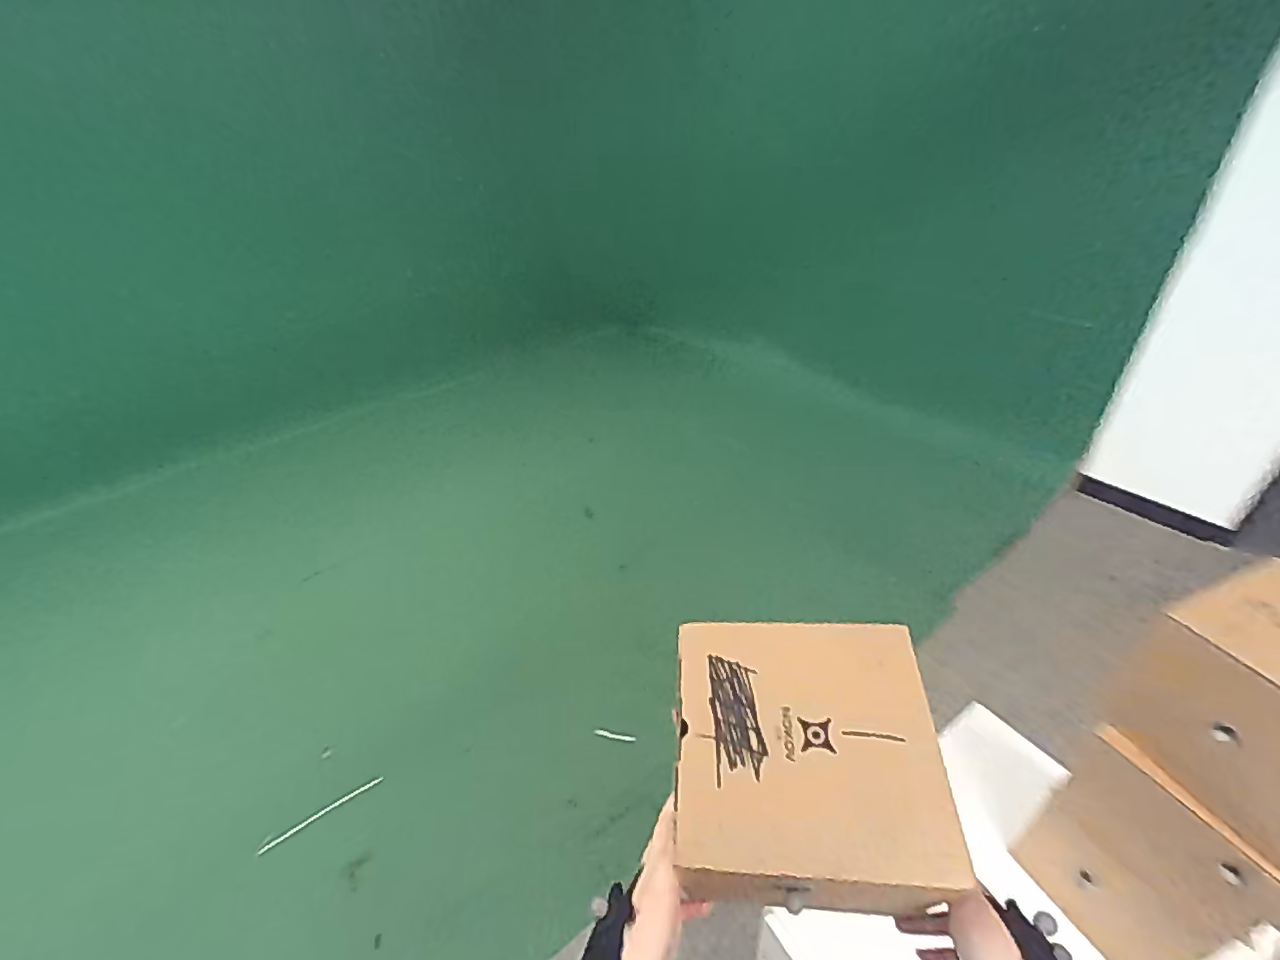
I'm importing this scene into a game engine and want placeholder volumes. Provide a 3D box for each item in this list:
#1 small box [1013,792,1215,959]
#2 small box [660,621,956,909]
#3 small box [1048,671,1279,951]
[{"bbox_3d":[0.624,0.485,0.686,0.168,0.176,0.179,-20,38,-17],"label":"small box"},{"bbox_3d":[0.114,0.228,0.433,0.179,0.176,0.168,-2,47,7],"label":"small box"},{"bbox_3d":[0.603,0.354,0.592,0.168,0.176,0.179,-21,39,-18],"label":"small box"}]
